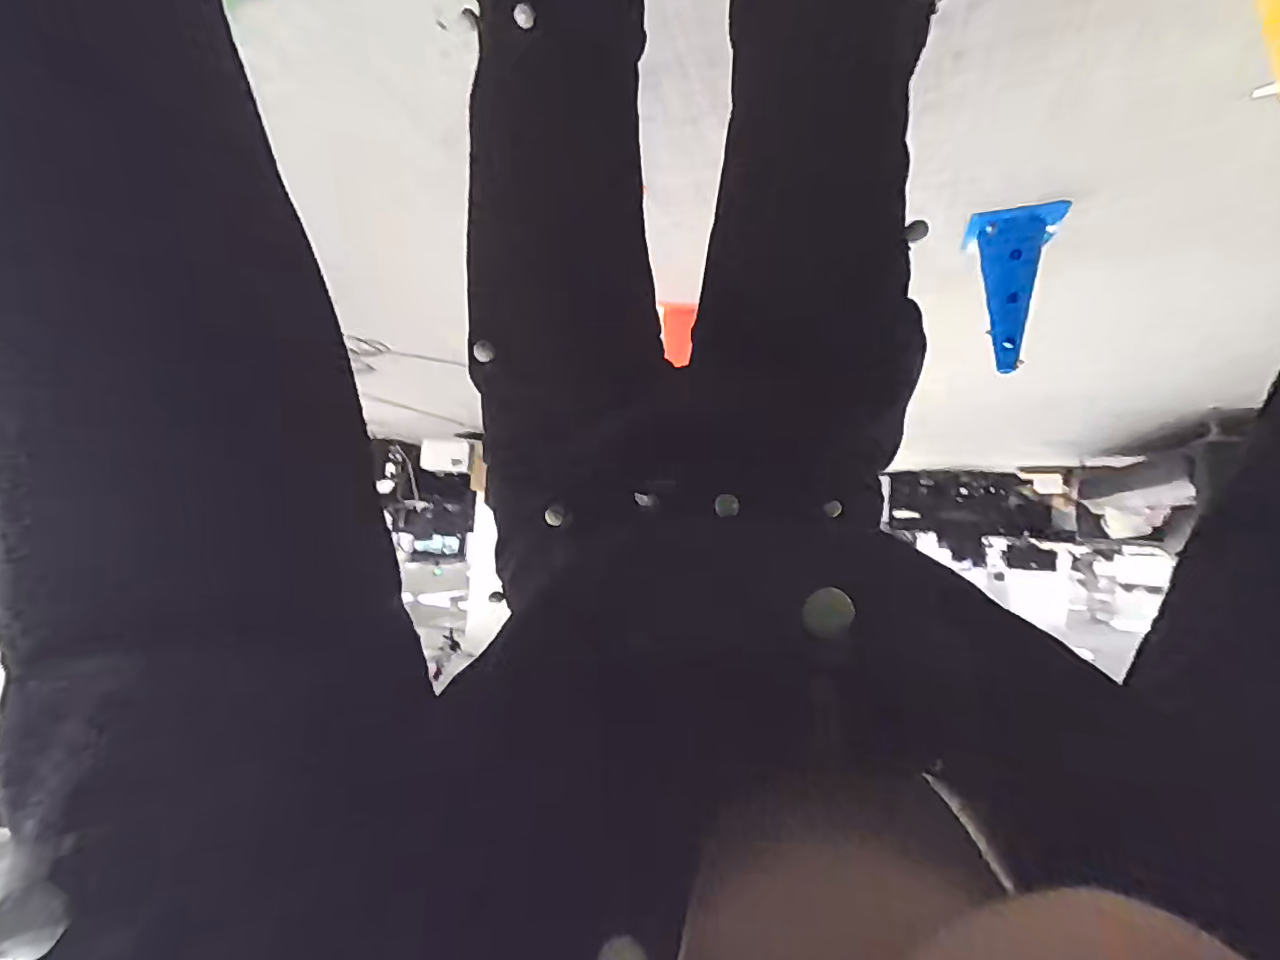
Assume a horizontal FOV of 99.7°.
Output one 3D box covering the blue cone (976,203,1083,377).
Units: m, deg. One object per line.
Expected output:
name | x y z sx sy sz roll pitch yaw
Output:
blue cone | 0.909 -0.431 1.277 0.192 0.380 0.193 1 175 24

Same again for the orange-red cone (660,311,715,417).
orange-red cone | 0.158 -0.410 1.979 0.199 0.360 0.198 5 174 4
